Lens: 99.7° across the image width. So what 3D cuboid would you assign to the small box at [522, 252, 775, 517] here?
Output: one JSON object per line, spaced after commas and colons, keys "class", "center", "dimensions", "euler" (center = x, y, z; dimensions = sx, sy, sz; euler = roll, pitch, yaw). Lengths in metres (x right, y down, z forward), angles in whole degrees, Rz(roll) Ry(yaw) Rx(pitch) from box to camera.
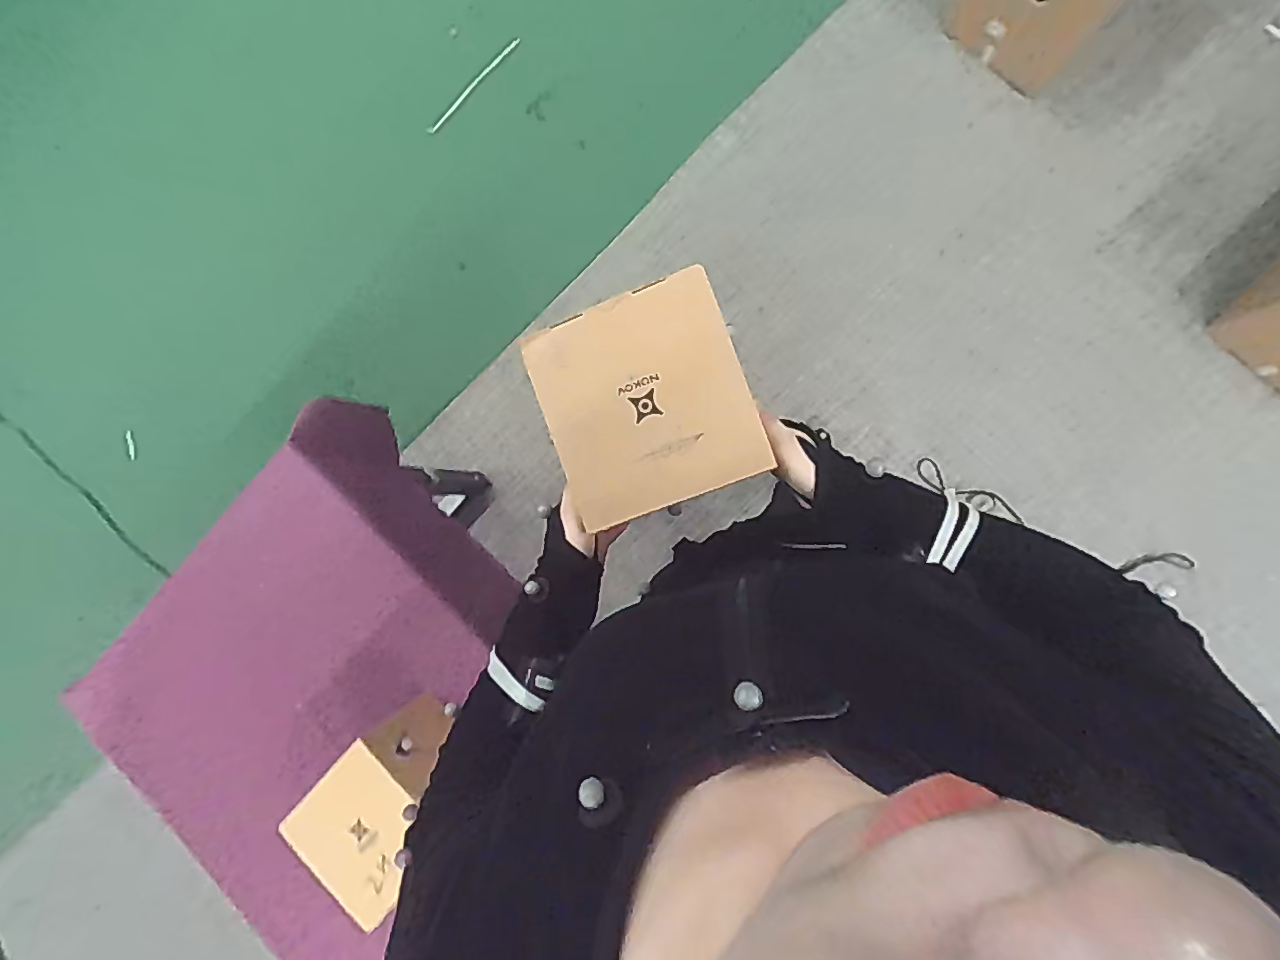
{"class": "small box", "center": [0.014, -0.078, 0.516], "dimensions": [0.168, 0.176, 0.179], "euler": [-20, 91, 9]}
